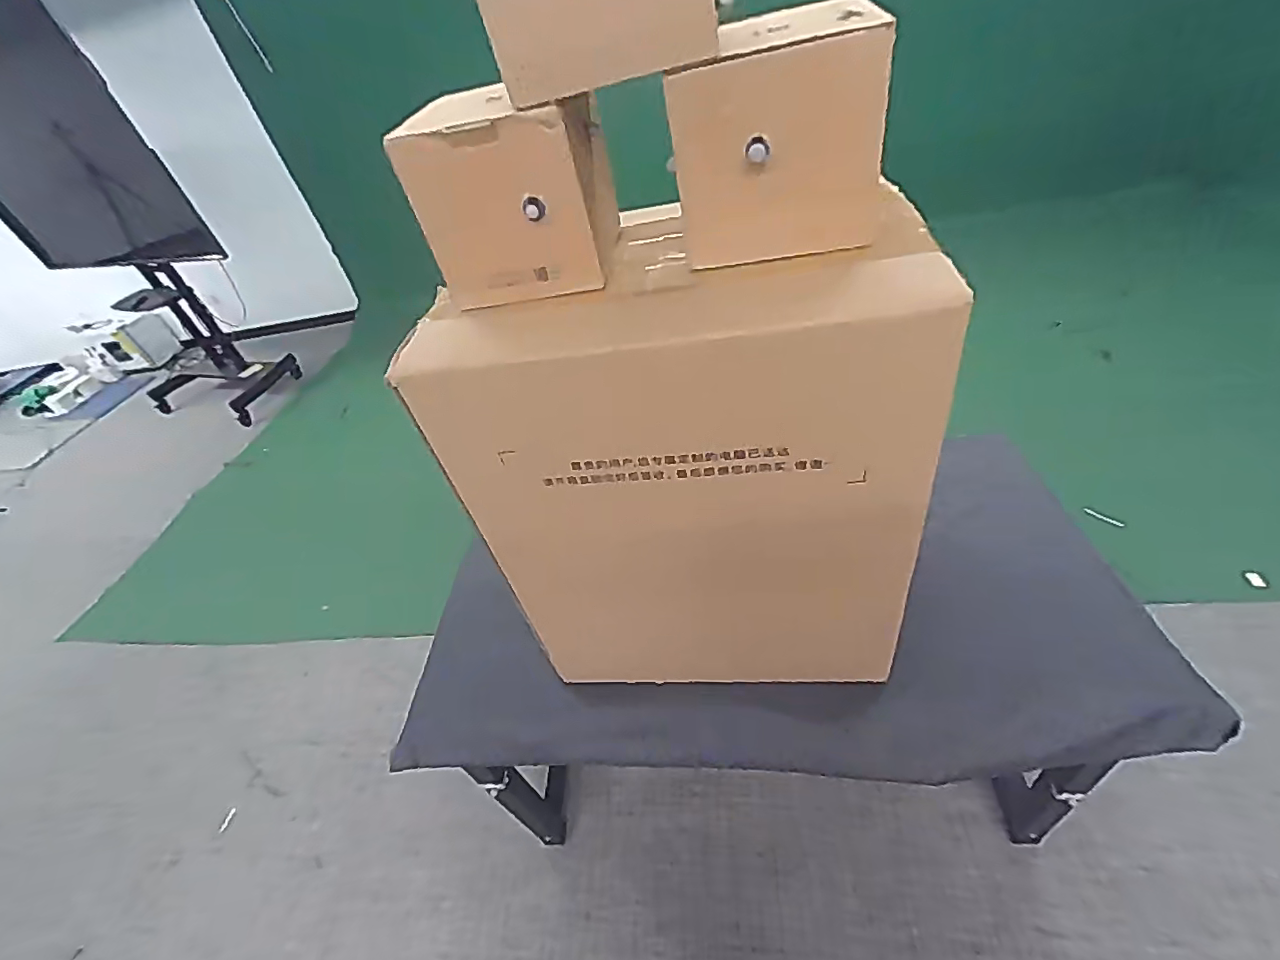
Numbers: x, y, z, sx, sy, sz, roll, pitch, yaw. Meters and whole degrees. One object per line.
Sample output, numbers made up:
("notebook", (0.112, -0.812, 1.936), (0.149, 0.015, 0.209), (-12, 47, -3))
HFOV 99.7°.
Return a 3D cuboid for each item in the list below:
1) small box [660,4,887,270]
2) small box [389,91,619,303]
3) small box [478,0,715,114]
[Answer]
("small box", (0.127, -0.324, 0.526), (0.179, 0.176, 0.168), (-4, 46, 13))
("small box", (-0.123, -0.302, 0.579), (0.168, 0.176, 0.179), (-4, 44, 10))
("small box", (-0.033, -0.427, 0.439), (0.179, 0.176, 0.168), (-6, 44, 13))
